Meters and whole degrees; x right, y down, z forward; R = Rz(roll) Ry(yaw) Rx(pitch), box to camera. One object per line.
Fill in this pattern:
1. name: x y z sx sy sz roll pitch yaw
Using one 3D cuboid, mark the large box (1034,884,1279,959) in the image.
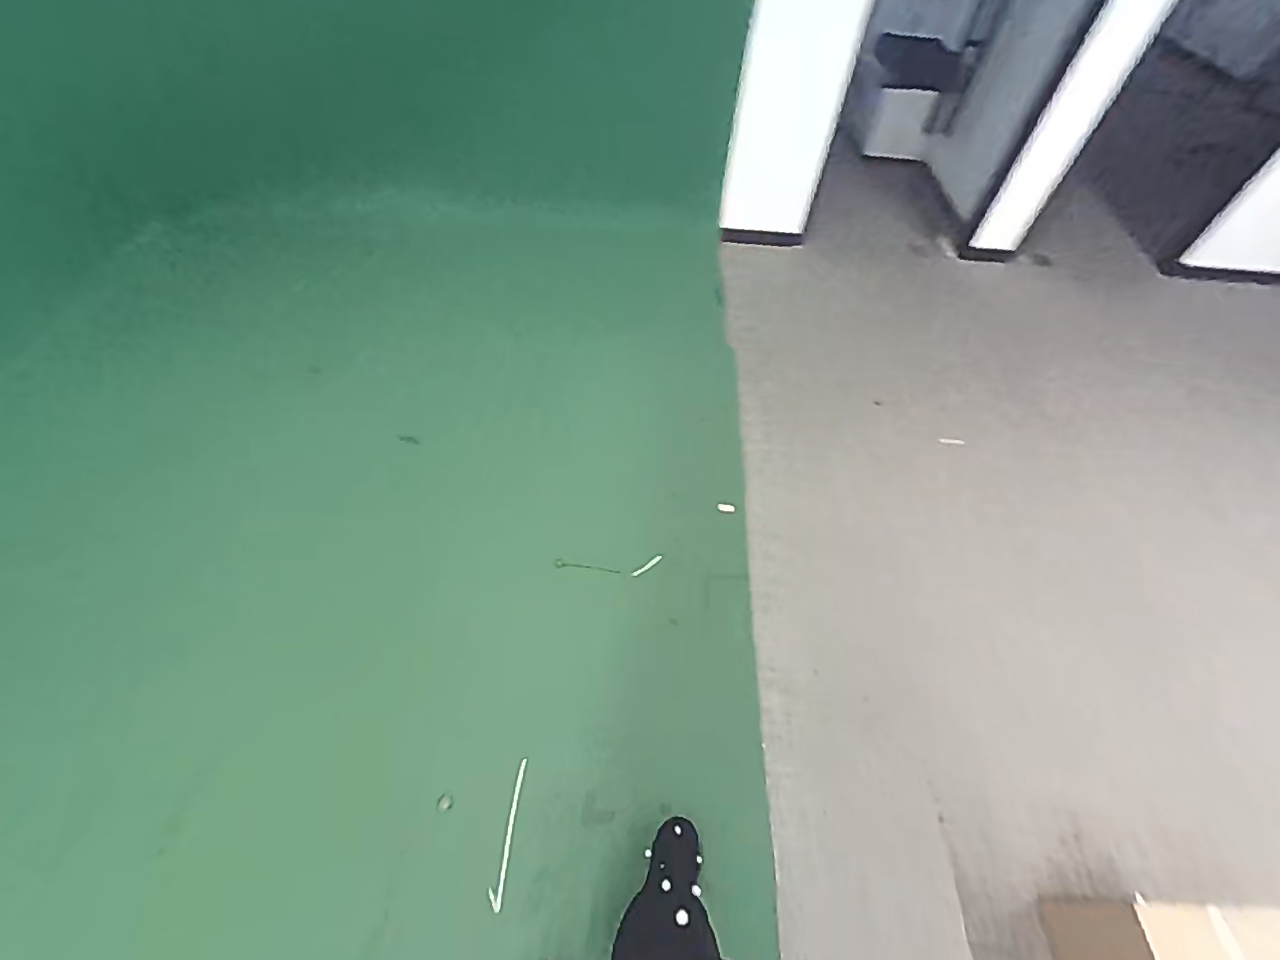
1. large box: 1.119 1.080 1.098 0.320 0.320 0.408 3 51 -2
